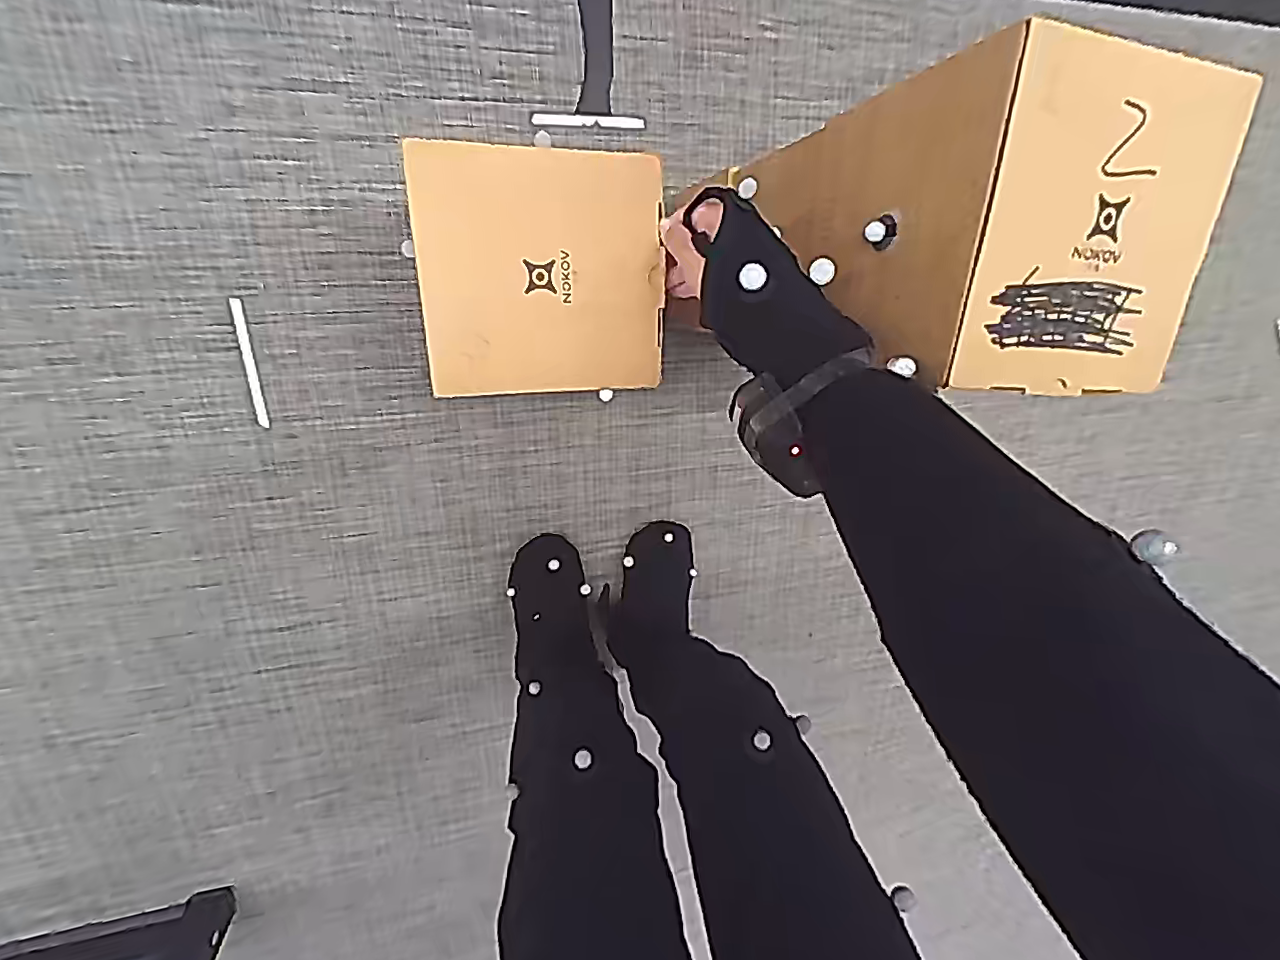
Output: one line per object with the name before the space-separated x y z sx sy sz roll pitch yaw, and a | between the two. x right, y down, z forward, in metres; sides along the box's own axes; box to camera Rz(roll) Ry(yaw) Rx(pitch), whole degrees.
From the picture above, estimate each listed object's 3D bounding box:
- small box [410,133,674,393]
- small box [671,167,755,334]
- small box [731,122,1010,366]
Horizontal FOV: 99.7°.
small box | -0.082 -0.169 0.454 0.179 0.176 0.168 -6 110 -16
small box | 0.152 -0.266 0.665 0.179 0.176 0.168 -1 109 -16
small box | 0.198 -0.209 0.517 0.168 0.176 0.179 -2 108 -15
